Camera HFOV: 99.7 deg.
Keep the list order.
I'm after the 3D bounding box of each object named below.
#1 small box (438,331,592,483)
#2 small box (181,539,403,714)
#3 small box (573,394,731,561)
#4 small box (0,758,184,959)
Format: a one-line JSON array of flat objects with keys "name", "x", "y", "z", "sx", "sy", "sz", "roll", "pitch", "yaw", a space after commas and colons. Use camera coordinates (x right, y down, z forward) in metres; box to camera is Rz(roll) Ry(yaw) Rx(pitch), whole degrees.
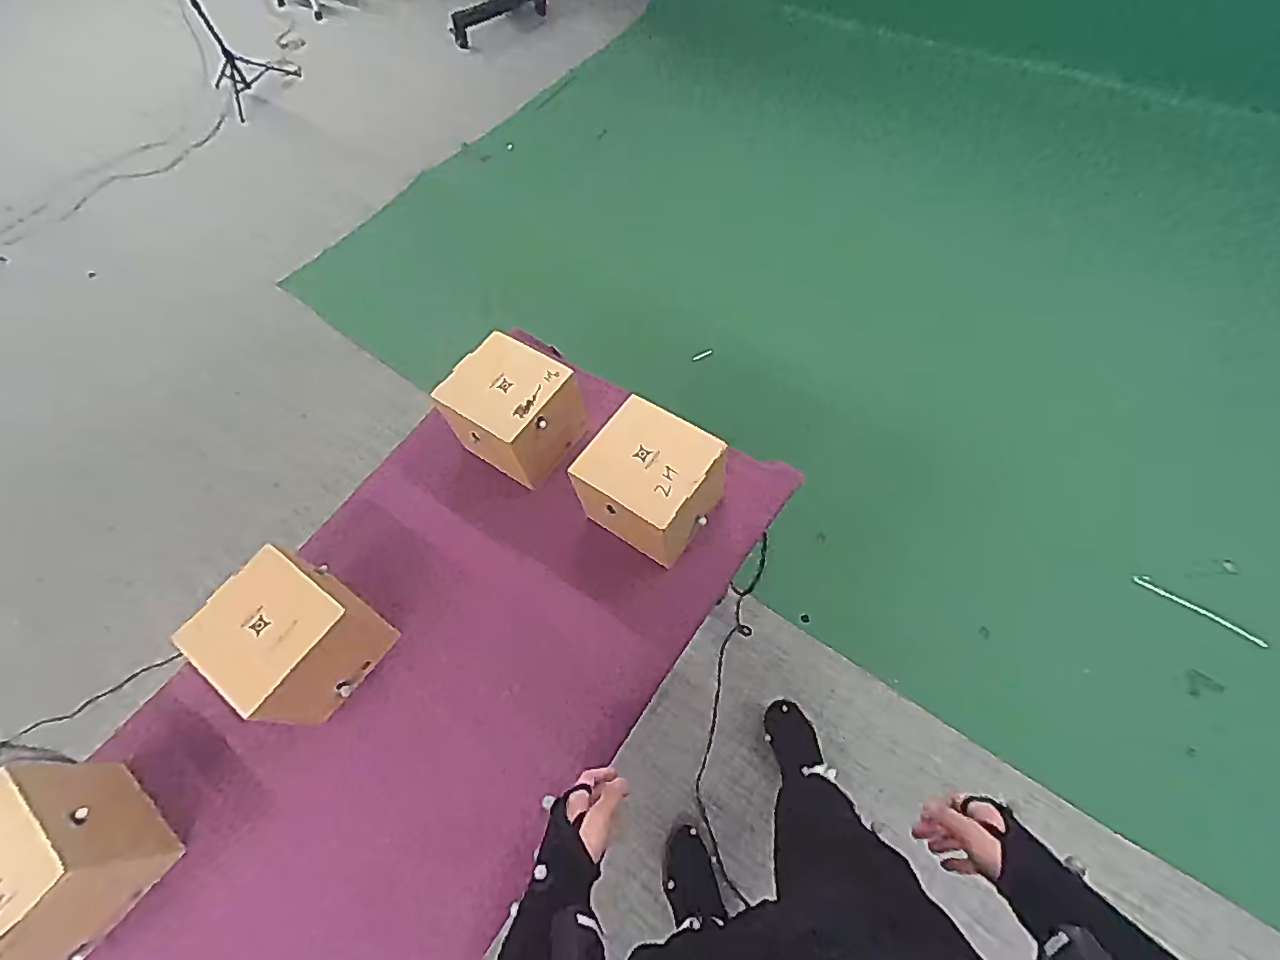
[{"name": "small box", "x": -0.208, "y": -0.121, "z": 0.946, "sx": 0.179, "sy": 0.176, "sz": 0.168, "roll": 30, "pitch": 70, "yaw": 19}, {"name": "small box", "x": -0.493, "y": 0.222, "z": 0.791, "sx": 0.179, "sy": 0.176, "sz": 0.168, "roll": 32, "pitch": 70, "yaw": 19}, {"name": "small box", "x": 0.024, "y": 0.003, "z": 0.856, "sx": 0.179, "sy": 0.176, "sz": 0.168, "roll": 32, "pitch": 71, "yaw": 20}, {"name": "small box", "x": -0.737, "y": 0.472, "z": 0.674, "sx": 0.179, "sy": 0.176, "sz": 0.168, "roll": 34, "pitch": 69, "yaw": 19}]
